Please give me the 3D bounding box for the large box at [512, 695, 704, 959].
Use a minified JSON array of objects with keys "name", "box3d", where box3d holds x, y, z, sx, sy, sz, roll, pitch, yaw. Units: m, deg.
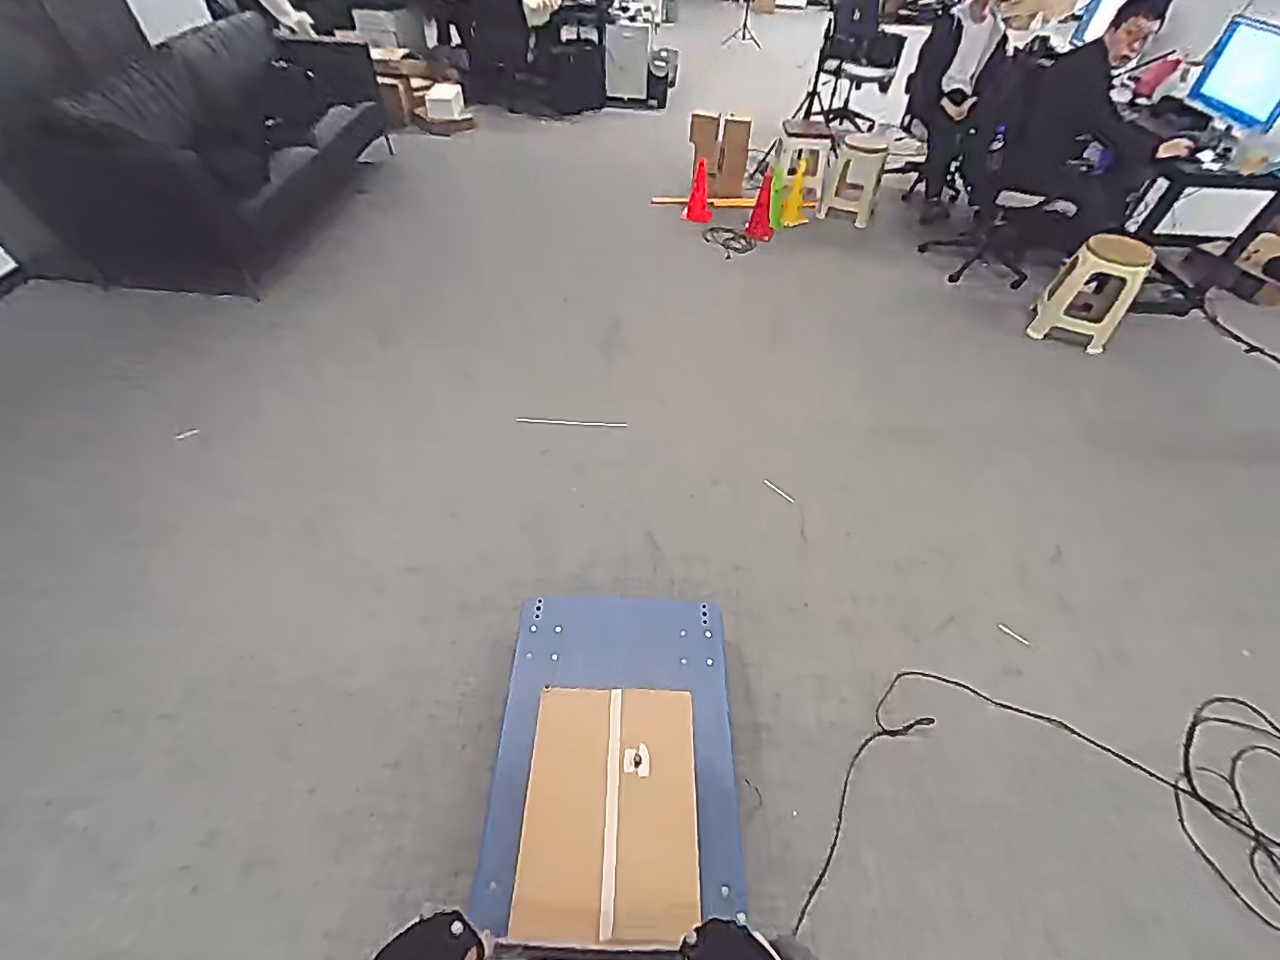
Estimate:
[{"name":"large box","box3d":[-0.054,0.695,1.092,0.320,0.320,0.408,2,48,-1]}]
